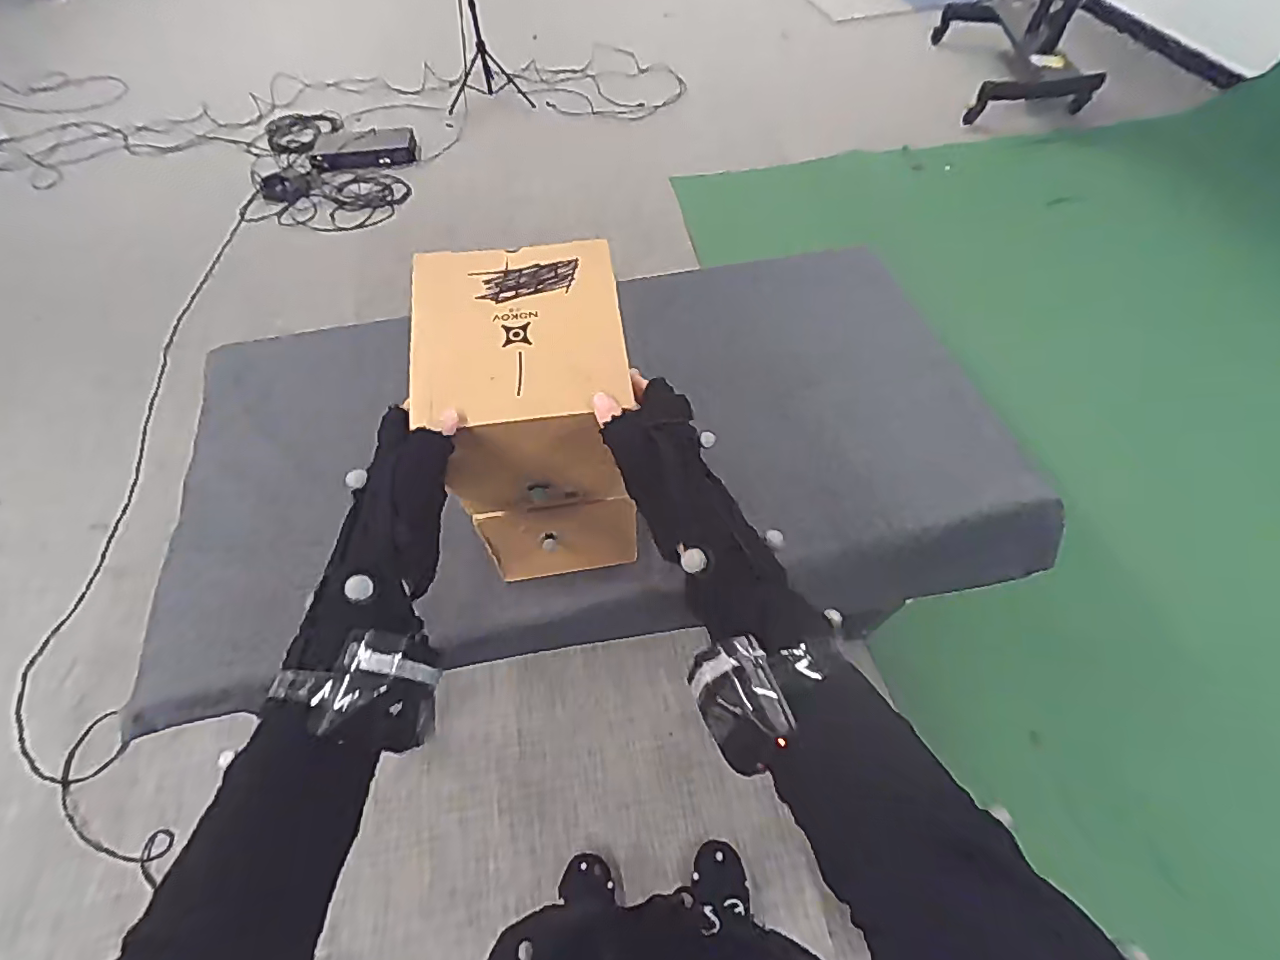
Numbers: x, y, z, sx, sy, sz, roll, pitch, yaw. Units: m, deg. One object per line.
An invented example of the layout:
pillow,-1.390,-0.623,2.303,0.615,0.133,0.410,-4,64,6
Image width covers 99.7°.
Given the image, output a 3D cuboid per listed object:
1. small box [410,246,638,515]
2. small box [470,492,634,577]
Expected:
small box,-0.095,-0.083,0.496,0.168,0.176,0.179,-6,66,-5
small box,-0.105,0.011,0.689,0.179,0.176,0.168,-8,57,-5
